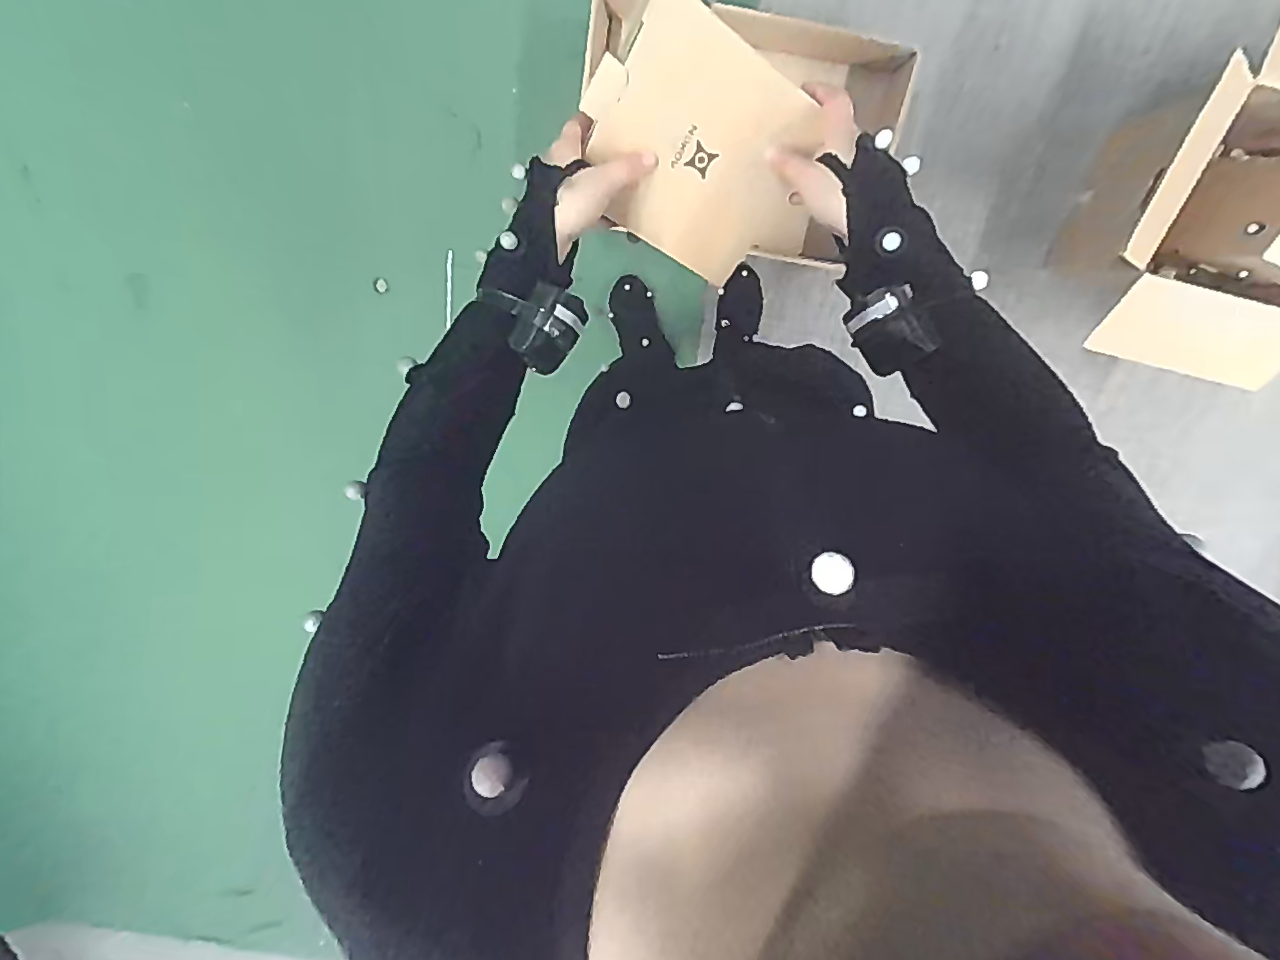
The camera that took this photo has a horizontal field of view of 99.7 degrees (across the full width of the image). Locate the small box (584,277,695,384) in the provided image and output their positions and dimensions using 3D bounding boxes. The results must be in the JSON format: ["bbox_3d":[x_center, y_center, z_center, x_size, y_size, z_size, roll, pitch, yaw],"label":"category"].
[{"bbox_3d":[0.005,-0.357,1.289,0.176,0.168,0.179,31,88,-40],"label":"small box"}]

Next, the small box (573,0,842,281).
[{"bbox_3d":[0.053,-0.333,0.521,0.179,0.176,0.168,24,125,-20],"label":"small box"}]

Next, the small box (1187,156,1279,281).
[{"bbox_3d":[1.181,-0.474,0.990,0.168,0.176,0.179,17,114,-7],"label":"small box"}]
